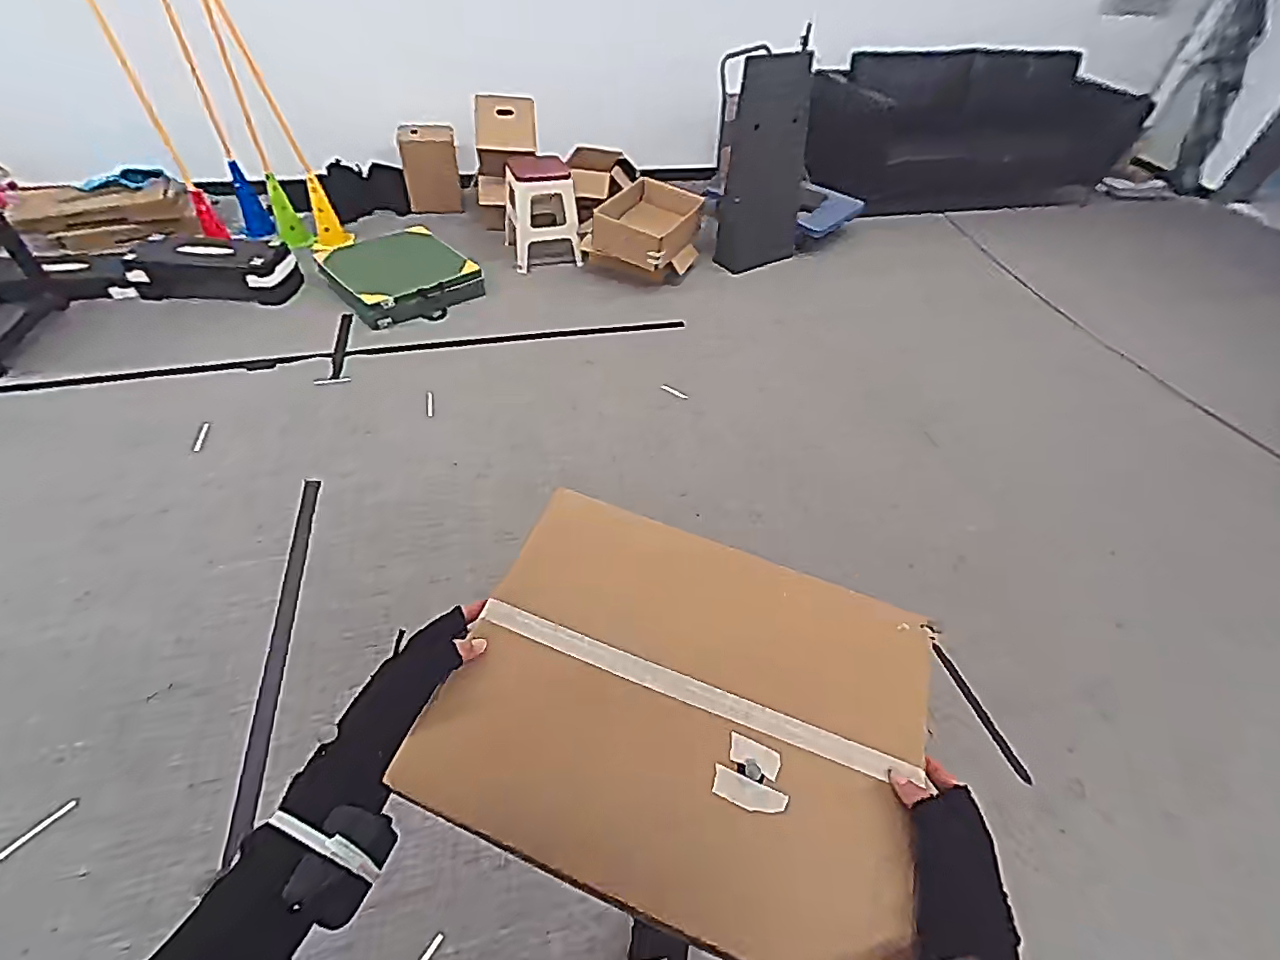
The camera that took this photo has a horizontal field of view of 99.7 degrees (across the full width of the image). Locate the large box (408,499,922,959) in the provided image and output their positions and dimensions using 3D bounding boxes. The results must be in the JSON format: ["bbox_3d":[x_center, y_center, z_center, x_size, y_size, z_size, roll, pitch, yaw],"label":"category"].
[{"bbox_3d":[0.035,0.282,0.605,0.408,0.320,0.320,20,54,9],"label":"large box"}]
